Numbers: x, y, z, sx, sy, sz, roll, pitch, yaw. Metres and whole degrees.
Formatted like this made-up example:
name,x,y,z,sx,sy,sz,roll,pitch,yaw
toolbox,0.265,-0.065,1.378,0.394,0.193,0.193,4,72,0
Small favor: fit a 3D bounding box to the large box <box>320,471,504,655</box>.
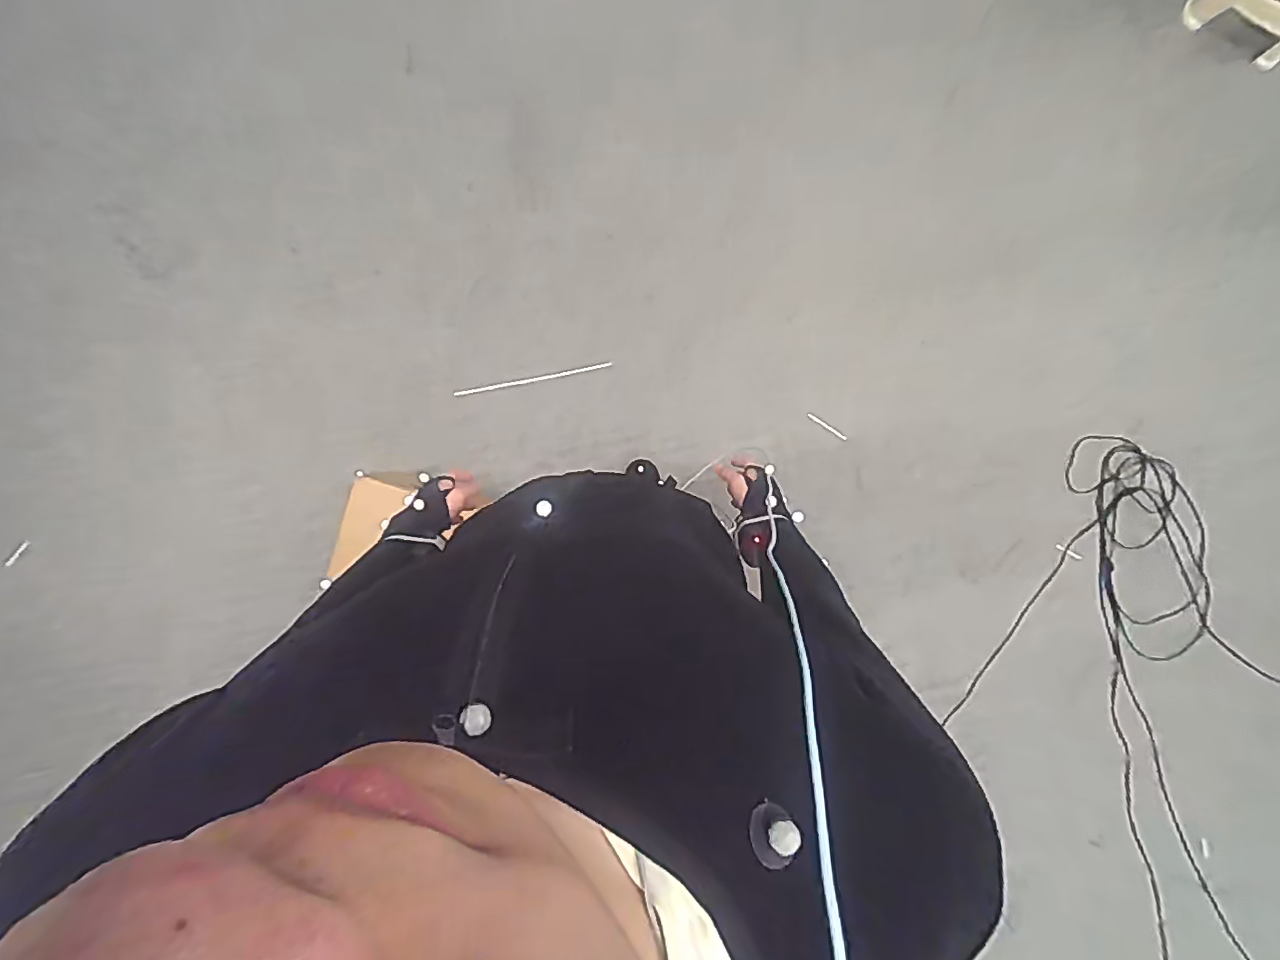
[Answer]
name,x,y,z,sx,sy,sz,roll,pitch,yaw
large box,-0.602,0.208,1.490,0.320,0.320,0.408,16,90,-4
